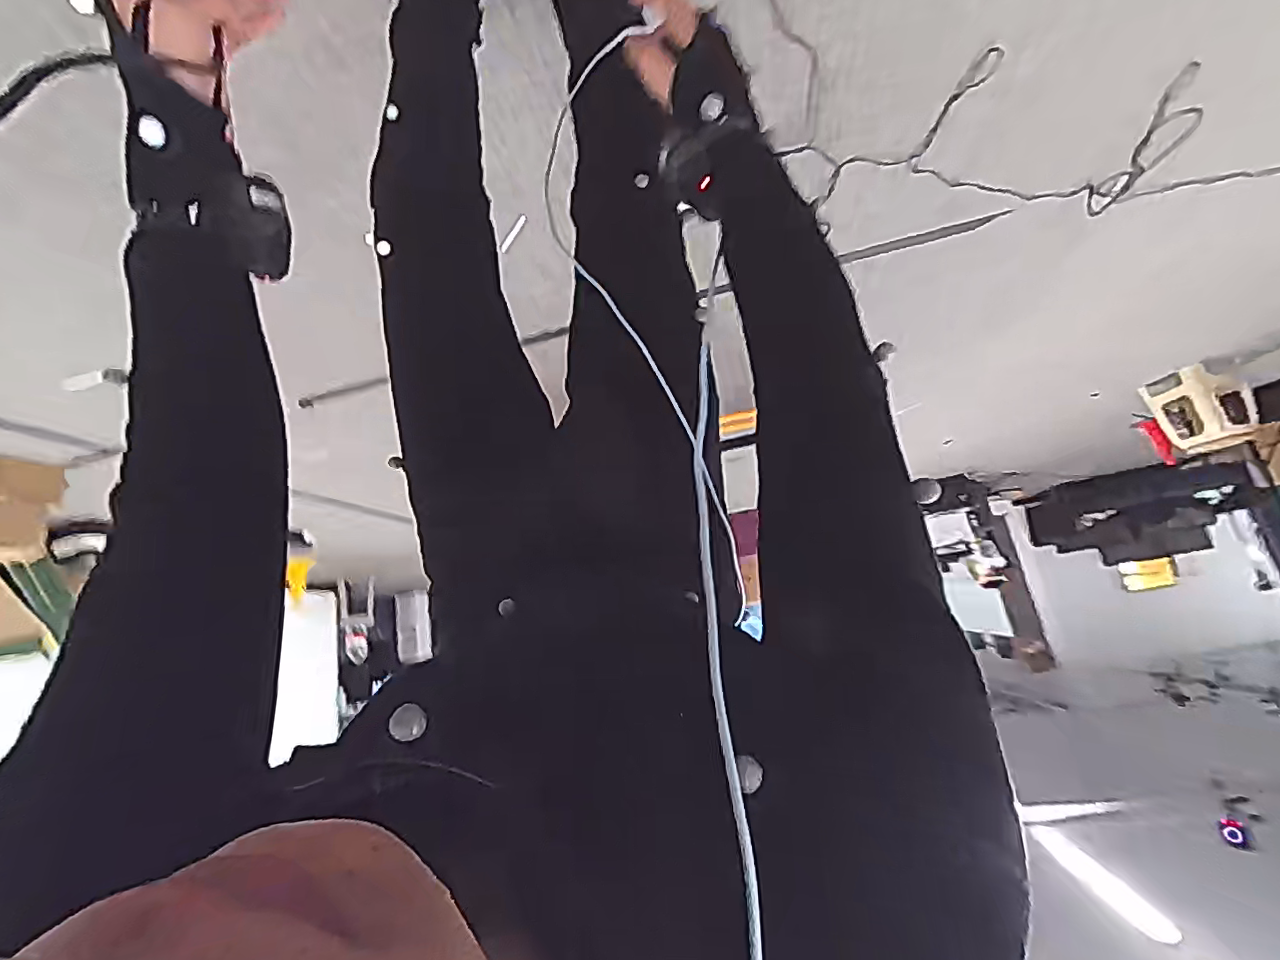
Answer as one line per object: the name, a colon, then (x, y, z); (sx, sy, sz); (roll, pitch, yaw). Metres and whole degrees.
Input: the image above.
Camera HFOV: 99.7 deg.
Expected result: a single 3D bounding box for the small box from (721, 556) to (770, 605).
small box: (0.429, 0.413, 2.216); (0.168, 0.176, 0.179); (-11, 165, 7)
